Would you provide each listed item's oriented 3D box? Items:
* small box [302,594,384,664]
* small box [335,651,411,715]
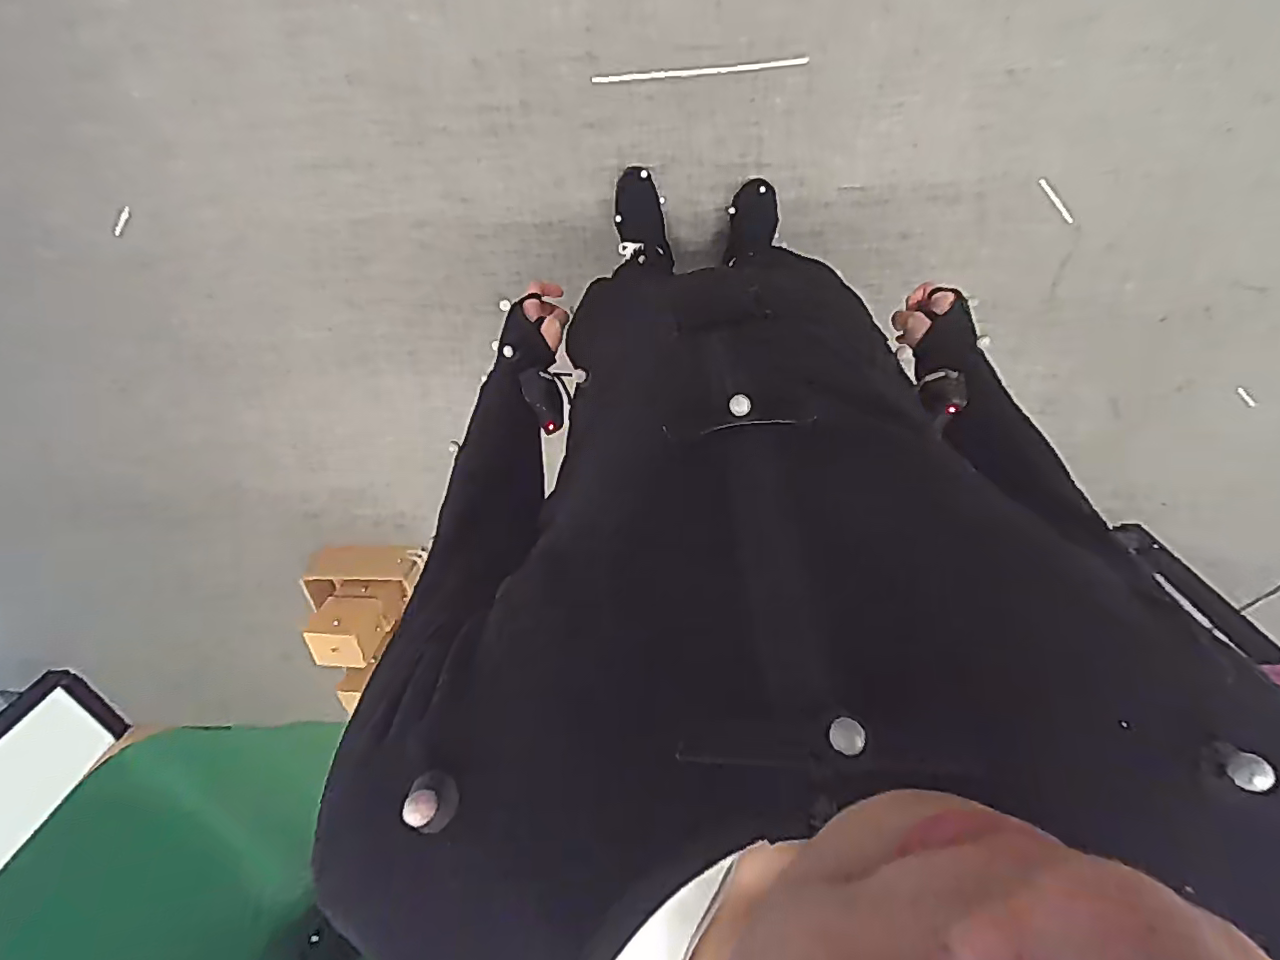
[{"bbox_3d":[-1.022,0.512,1.873,0.179,0.176,0.168,3,123,0],"label":"small box"},{"bbox_3d":[-1.001,0.762,2.038,0.179,0.176,0.168,-2,124,5],"label":"small box"}]
